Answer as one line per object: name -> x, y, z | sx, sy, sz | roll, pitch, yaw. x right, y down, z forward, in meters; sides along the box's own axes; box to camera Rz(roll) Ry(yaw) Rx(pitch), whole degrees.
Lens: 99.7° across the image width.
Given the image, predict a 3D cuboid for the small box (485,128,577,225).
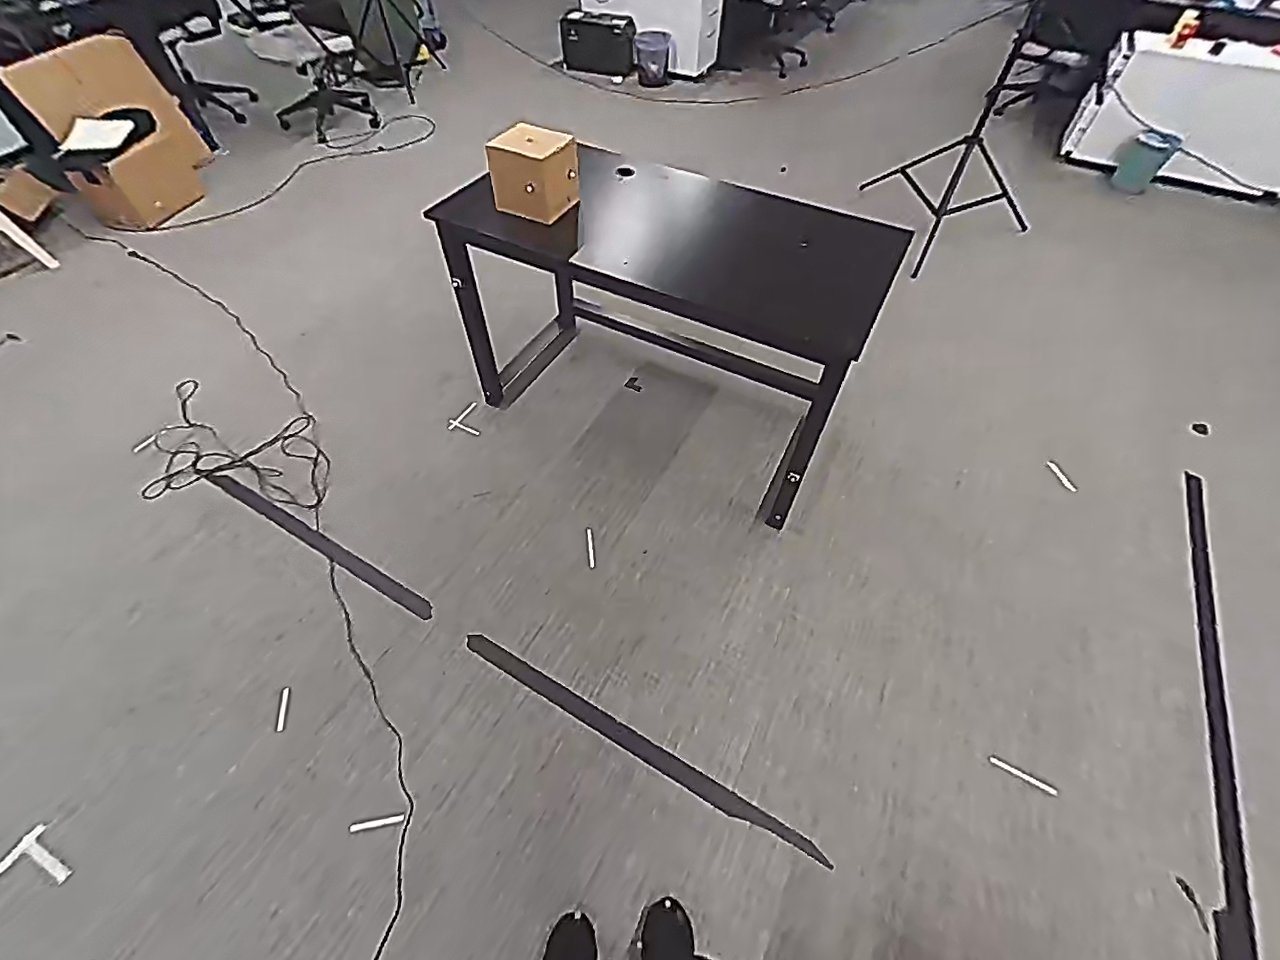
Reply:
small box -> -0.285, -0.814, 1.458 | 0.179, 0.176, 0.168 | 21, 54, 15
